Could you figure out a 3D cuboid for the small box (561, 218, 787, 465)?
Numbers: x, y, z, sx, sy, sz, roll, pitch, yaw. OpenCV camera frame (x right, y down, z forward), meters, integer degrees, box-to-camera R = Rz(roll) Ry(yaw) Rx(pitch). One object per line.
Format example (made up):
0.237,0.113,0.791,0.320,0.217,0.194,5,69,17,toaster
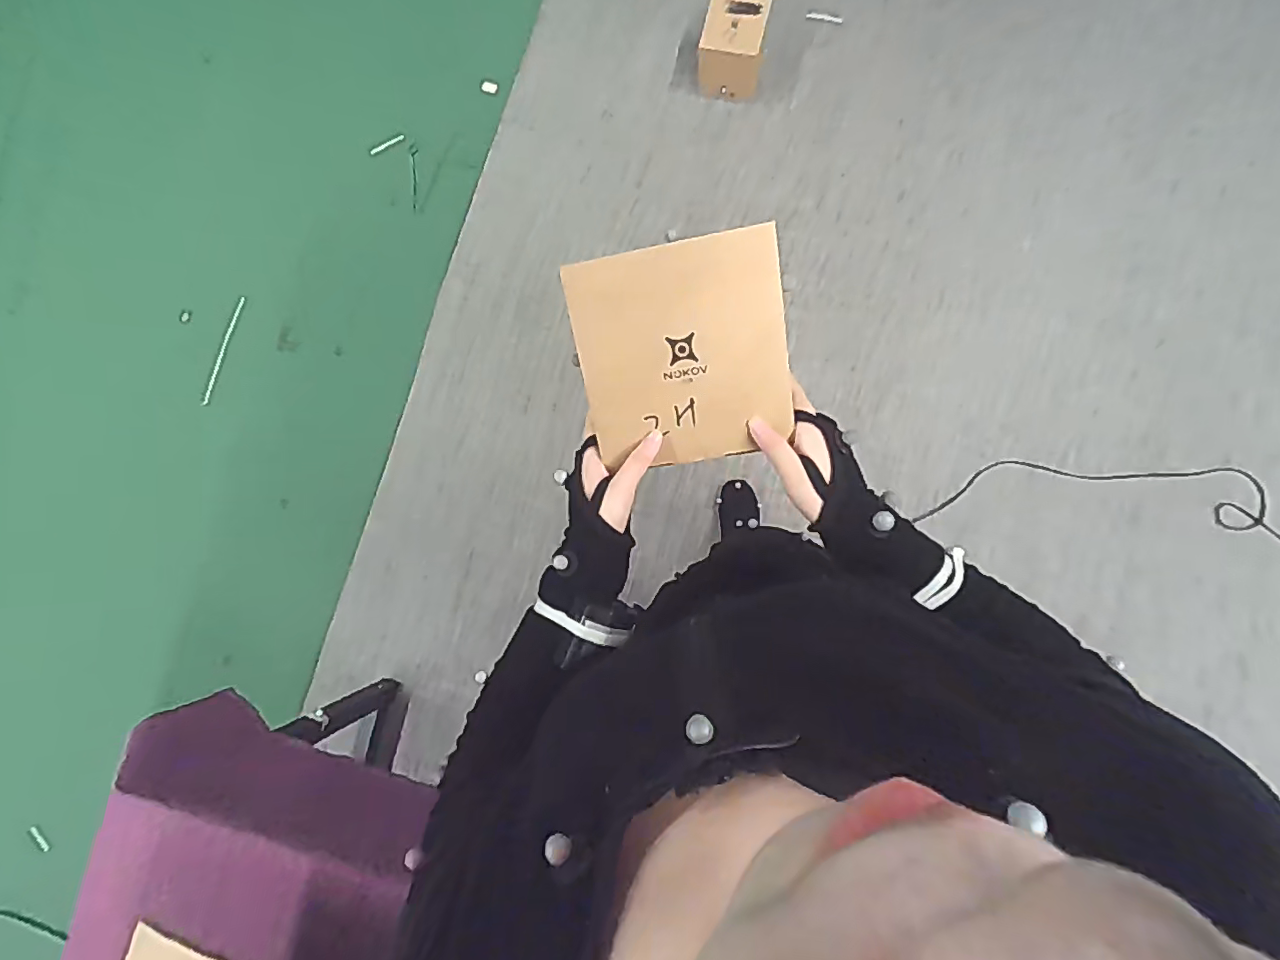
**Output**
0.037,-0.131,0.513,0.168,0.176,0.179,-8,110,9,small box
